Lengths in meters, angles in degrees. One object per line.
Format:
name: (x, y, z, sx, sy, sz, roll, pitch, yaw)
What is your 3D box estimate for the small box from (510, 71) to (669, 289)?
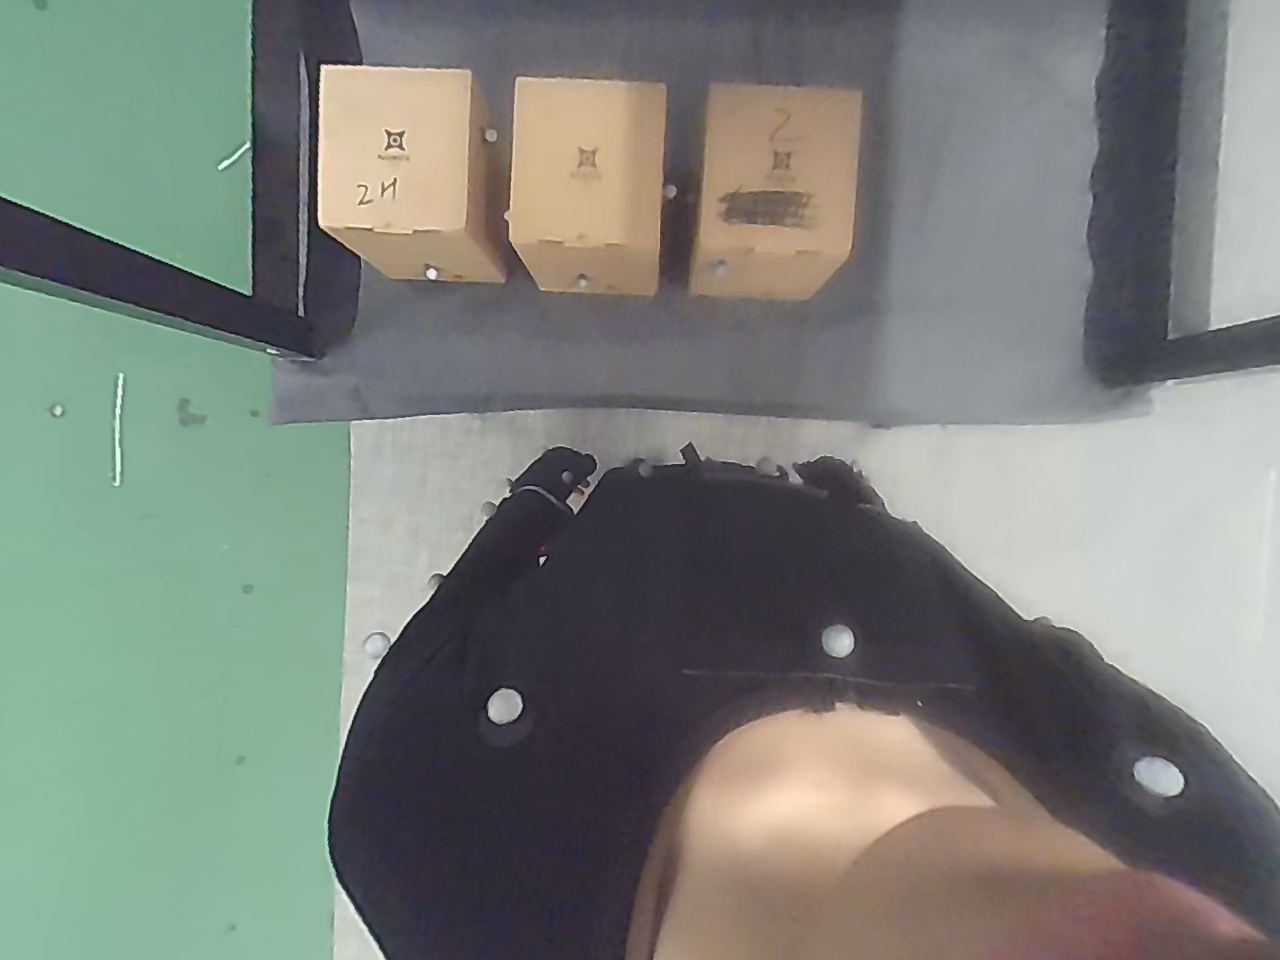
small box: (-0.056, -0.353, 0.664, 0.168, 0.176, 0.179, 3, 93, 0)

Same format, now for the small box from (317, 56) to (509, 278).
small box: (-0.263, -0.368, 0.663, 0.168, 0.176, 0.179, 3, 92, 0)
